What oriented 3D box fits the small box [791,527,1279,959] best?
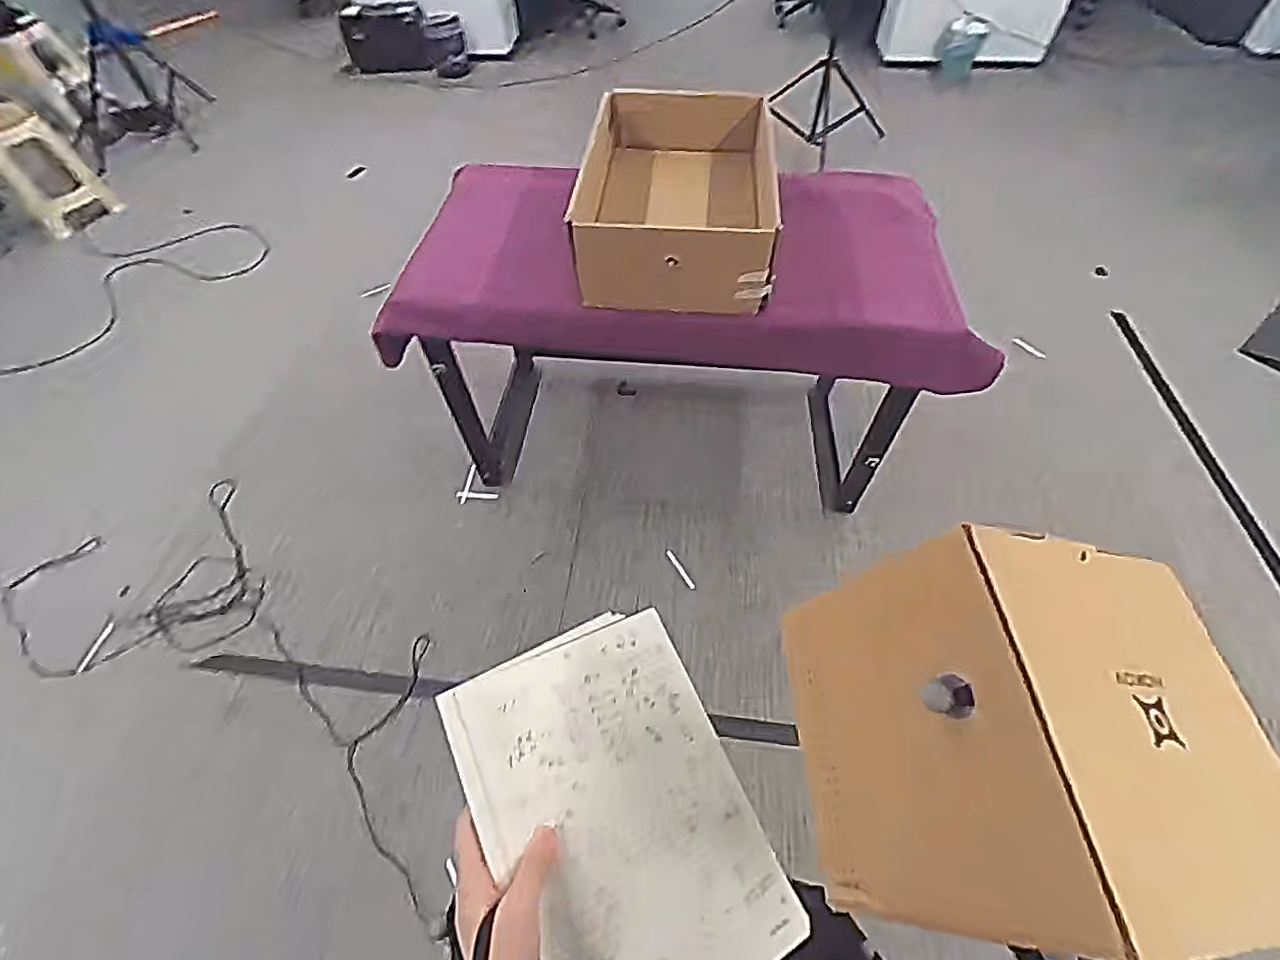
[{"bbox_3d":[0.213,0.151,0.318,0.168,0.176,0.179,11,55,-18],"label":"small box"}]
